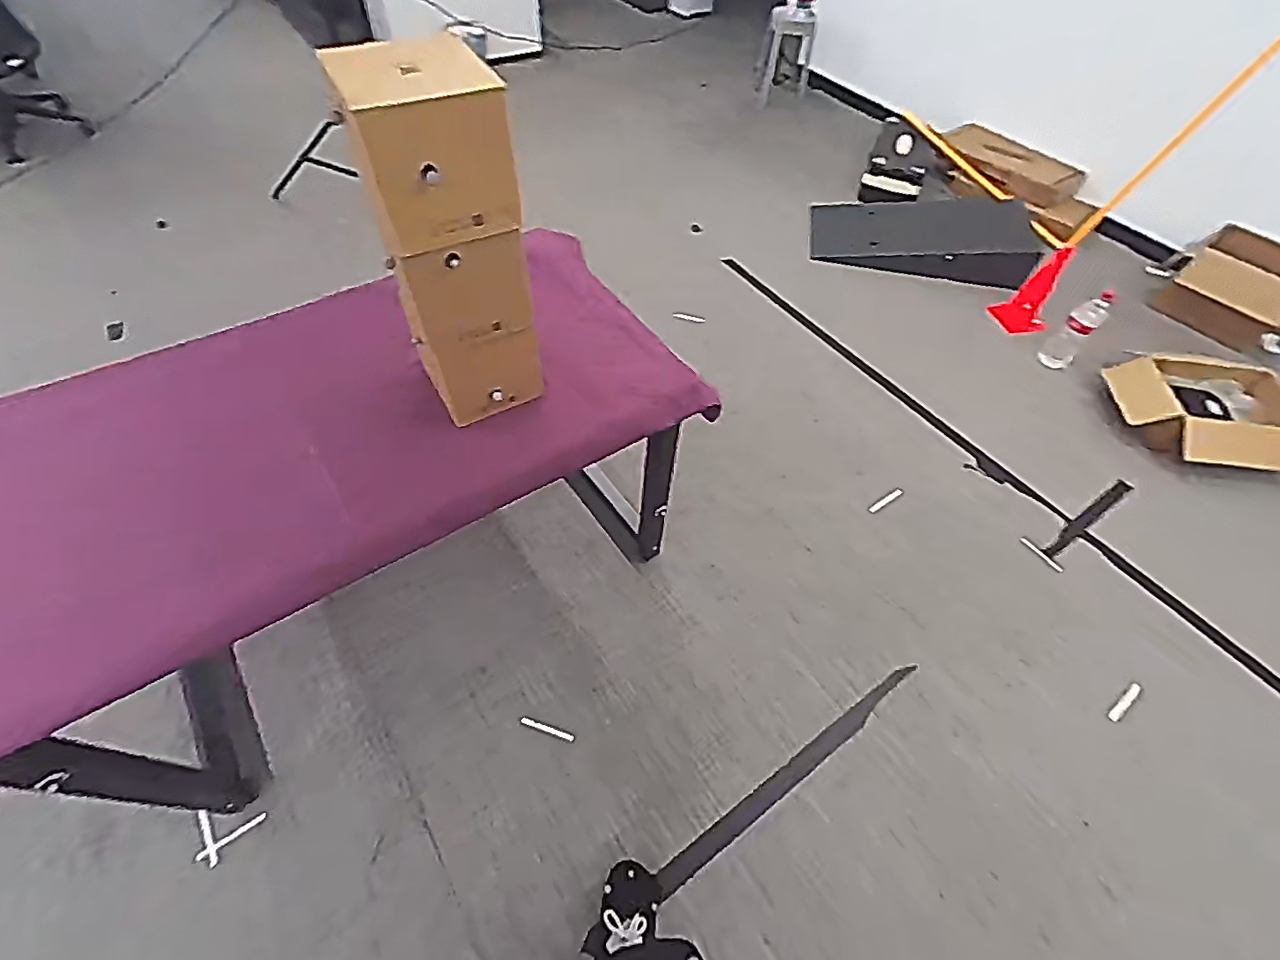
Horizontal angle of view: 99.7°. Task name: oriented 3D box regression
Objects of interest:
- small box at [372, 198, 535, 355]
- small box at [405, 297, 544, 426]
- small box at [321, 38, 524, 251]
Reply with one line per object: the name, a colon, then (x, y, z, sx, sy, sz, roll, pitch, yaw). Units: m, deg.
small box: (-0.271, -0.318, 0.808, 0.168, 0.176, 0.179, -24, 59, -18)
small box: (-0.282, -0.227, 0.944, 0.168, 0.176, 0.179, -26, 61, -19)
small box: (-0.258, -0.408, 0.672, 0.168, 0.176, 0.179, -24, 59, -18)
